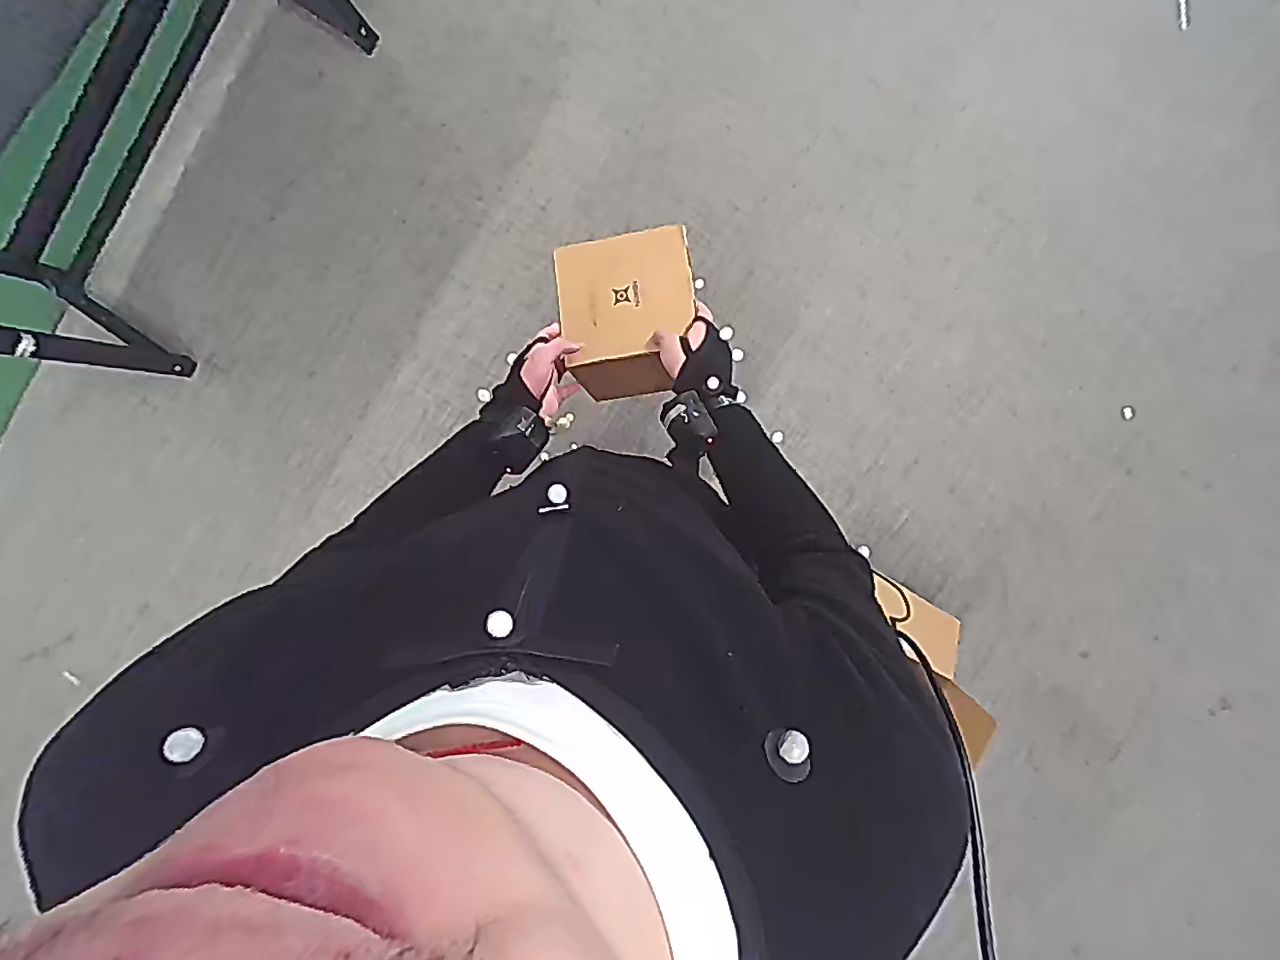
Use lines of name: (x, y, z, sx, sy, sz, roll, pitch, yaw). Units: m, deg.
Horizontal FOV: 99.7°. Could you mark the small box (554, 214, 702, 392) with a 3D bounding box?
small box: (-0.008, -0.231, 0.748, 0.179, 0.176, 0.168, -7, 80, 8)
